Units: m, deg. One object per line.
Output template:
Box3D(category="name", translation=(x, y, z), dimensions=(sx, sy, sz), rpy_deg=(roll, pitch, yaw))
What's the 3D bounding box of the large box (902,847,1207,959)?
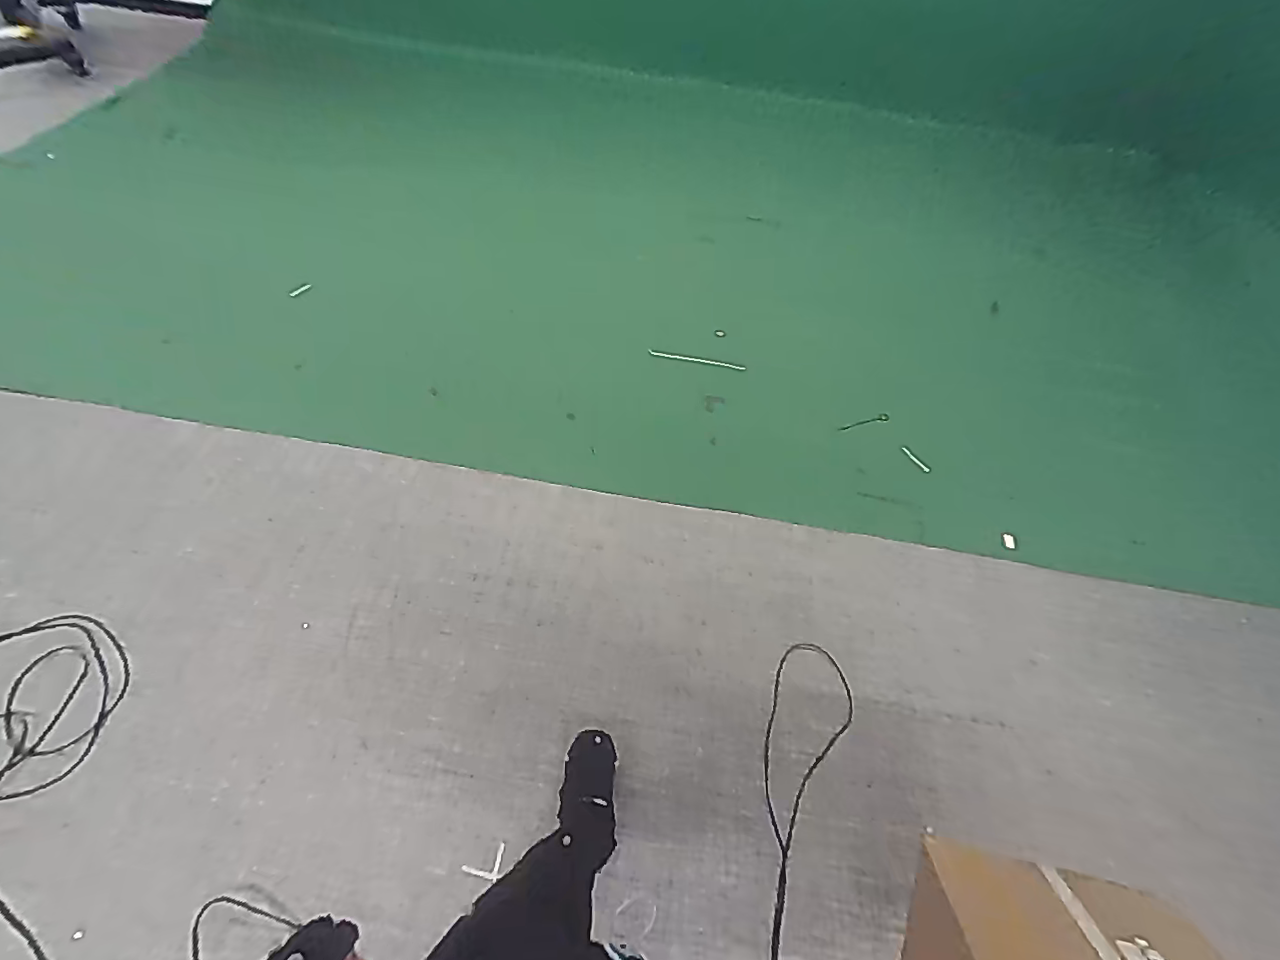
Box3D(category="large box", translation=(0.493, 0.707, 0.571), dimensions=(0.320, 0.408, 0.320), rpy_deg=(10, 93, 12))
